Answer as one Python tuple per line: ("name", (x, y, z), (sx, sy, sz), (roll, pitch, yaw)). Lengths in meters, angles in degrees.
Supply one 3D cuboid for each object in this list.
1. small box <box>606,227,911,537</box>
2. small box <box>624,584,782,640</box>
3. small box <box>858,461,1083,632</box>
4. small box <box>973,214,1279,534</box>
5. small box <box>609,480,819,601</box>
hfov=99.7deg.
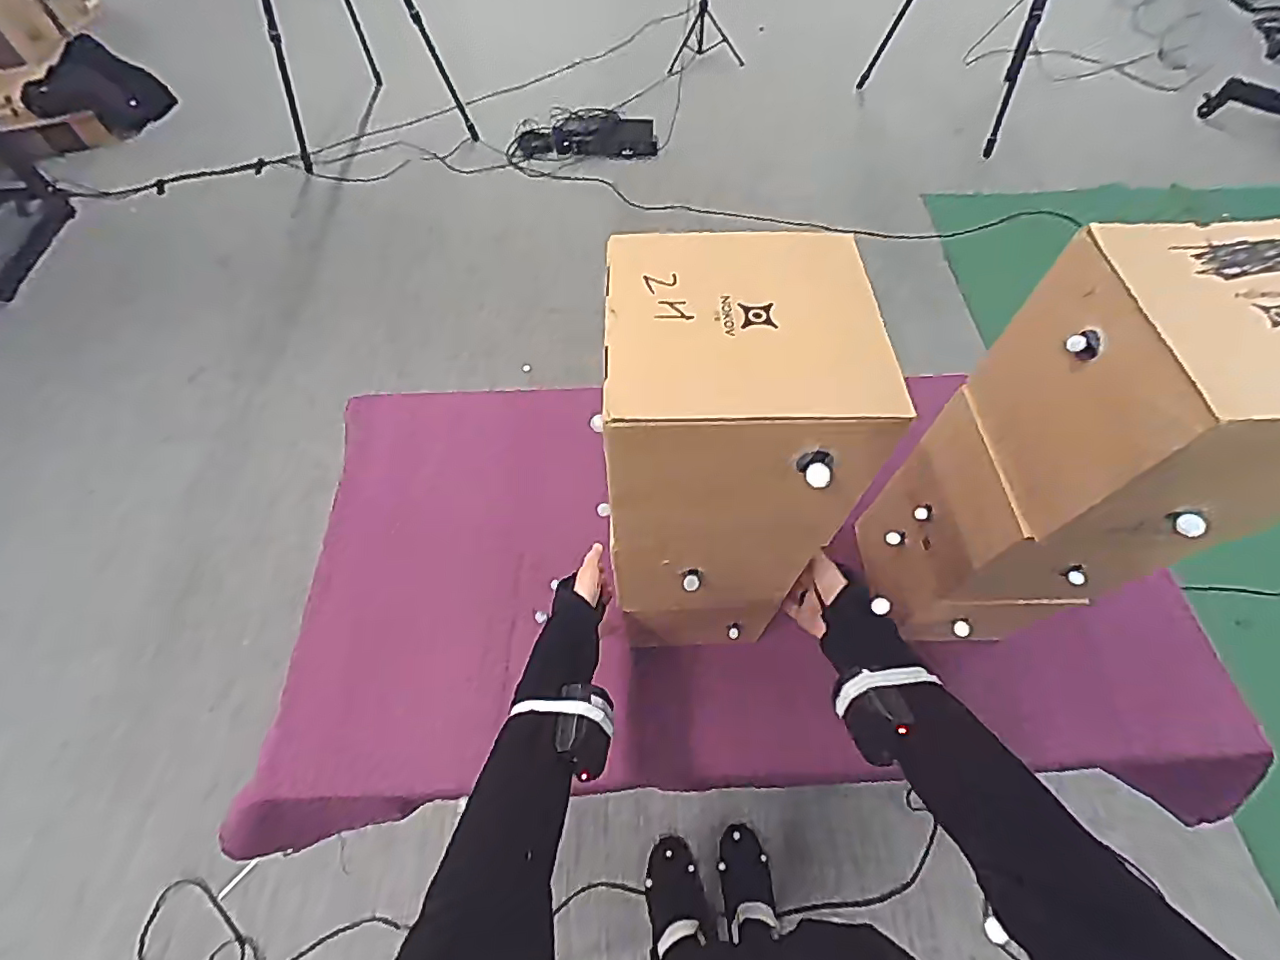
("small box", (0.066, -0.065, 0.412), (0.179, 0.176, 0.168), (-1, 58, 0))
("small box", (0.067, 0.102, 0.695), (0.179, 0.176, 0.168), (-2, 59, 0))
("small box", (0.402, 0.092, 0.698), (0.168, 0.176, 0.179), (-1, 59, 0))
("small box", (0.396, -0.074, 0.413), (0.168, 0.176, 0.179), (-2, 59, 1))
("small box", (0.062, 0.019, 0.553), (0.179, 0.176, 0.168), (-2, 59, 0))
